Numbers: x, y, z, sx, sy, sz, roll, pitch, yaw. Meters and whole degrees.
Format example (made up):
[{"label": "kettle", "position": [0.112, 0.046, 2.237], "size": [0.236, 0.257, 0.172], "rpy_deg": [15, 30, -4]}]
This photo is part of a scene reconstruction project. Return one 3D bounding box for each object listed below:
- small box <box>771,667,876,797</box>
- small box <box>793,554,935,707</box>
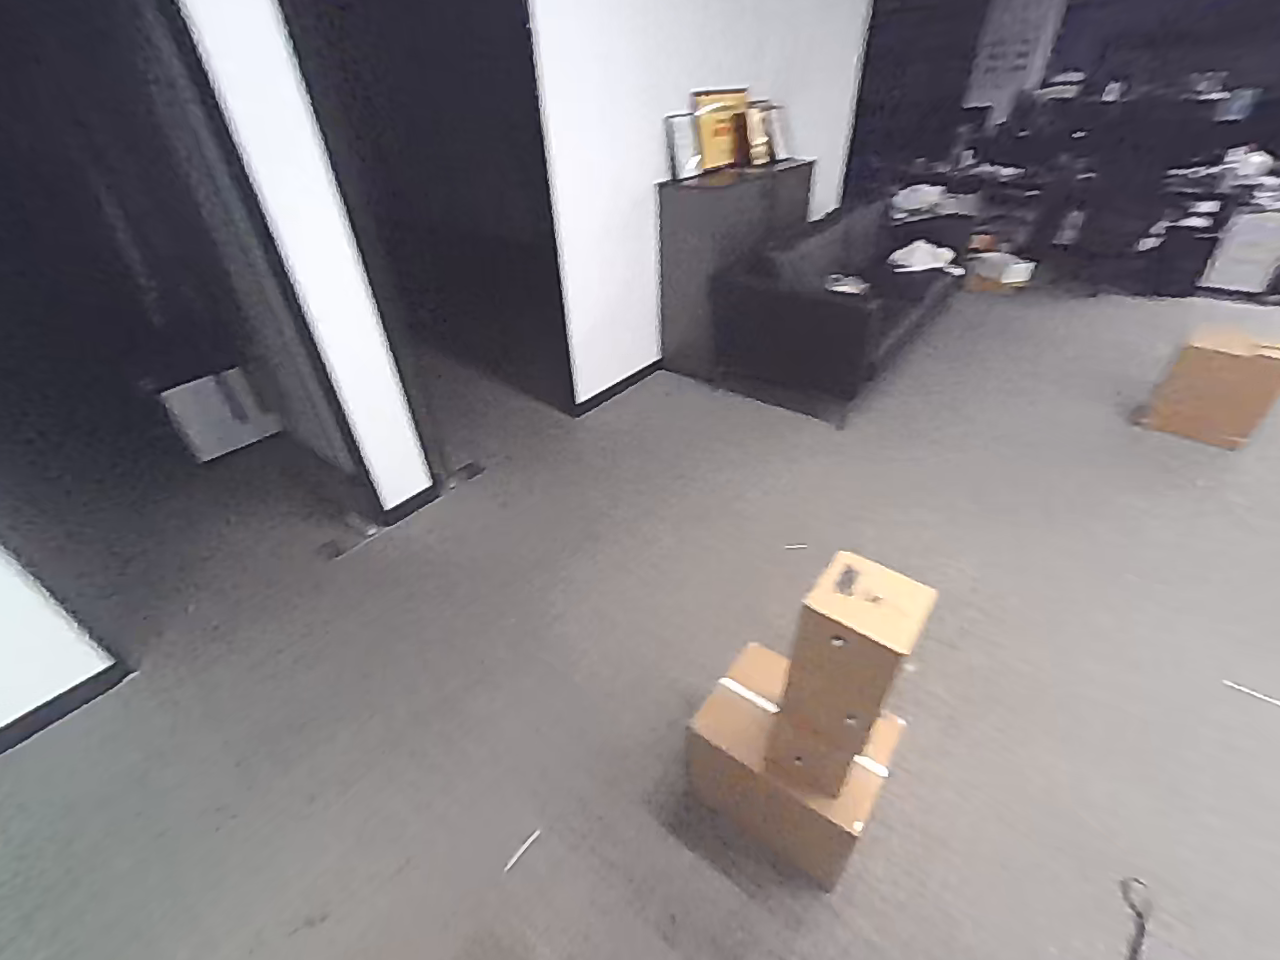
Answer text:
[{"label": "small box", "position": [0.396, 0.536, 1.176], "size": [0.168, 0.176, 0.179], "rpy_deg": [21, 43, 29]}, {"label": "small box", "position": [0.396, 0.272, 0.979], "size": [0.179, 0.176, 0.168], "rpy_deg": [25, 45, 30]}]
